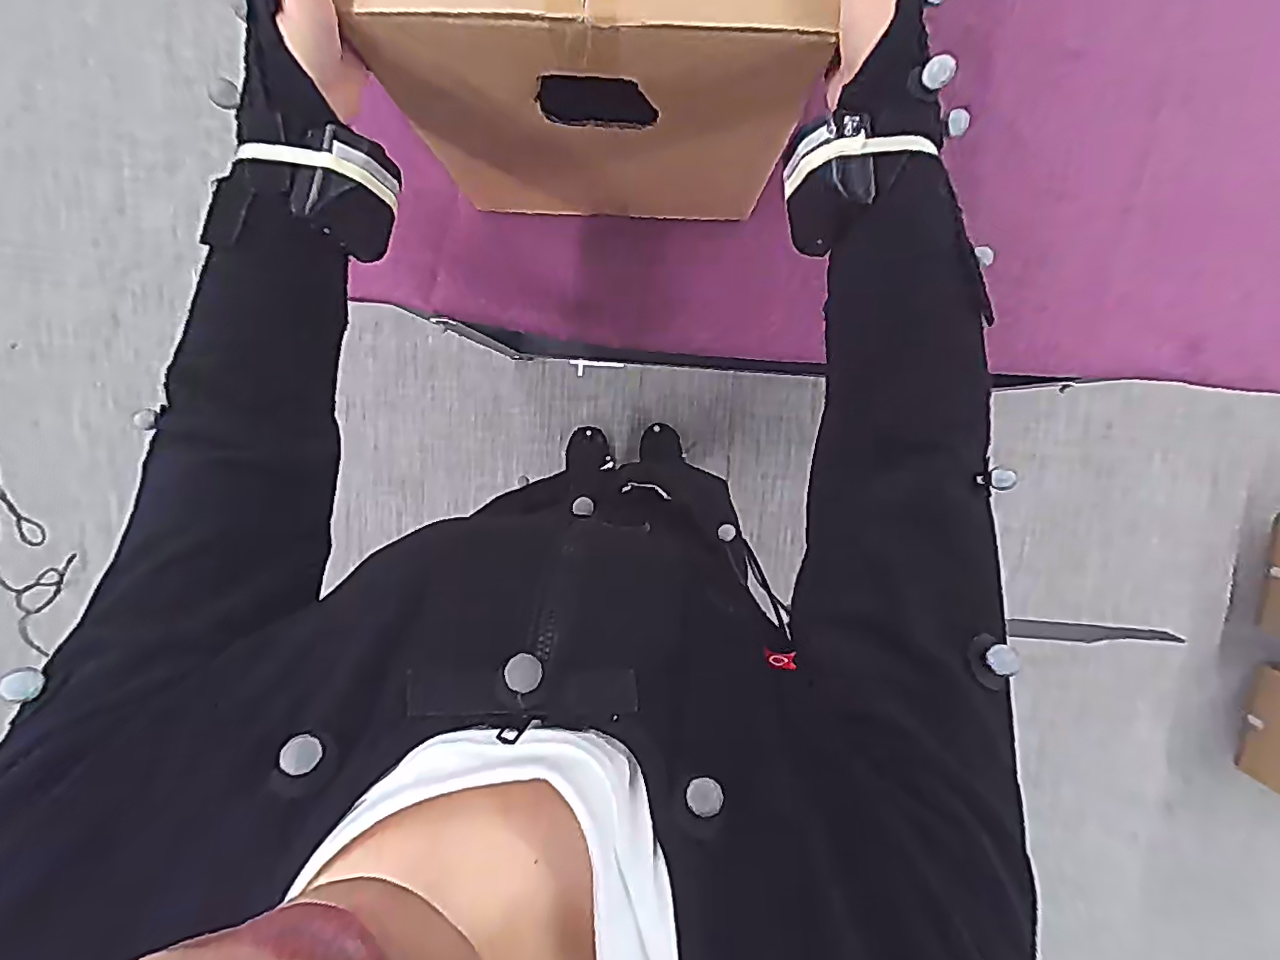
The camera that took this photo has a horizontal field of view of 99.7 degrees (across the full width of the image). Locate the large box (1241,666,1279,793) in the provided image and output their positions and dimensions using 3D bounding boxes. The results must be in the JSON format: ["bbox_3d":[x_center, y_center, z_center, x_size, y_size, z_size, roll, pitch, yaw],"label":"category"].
[{"bbox_3d":[1.817,0.660,1.286,0.408,0.320,0.320,3,96,1],"label":"large box"}]
